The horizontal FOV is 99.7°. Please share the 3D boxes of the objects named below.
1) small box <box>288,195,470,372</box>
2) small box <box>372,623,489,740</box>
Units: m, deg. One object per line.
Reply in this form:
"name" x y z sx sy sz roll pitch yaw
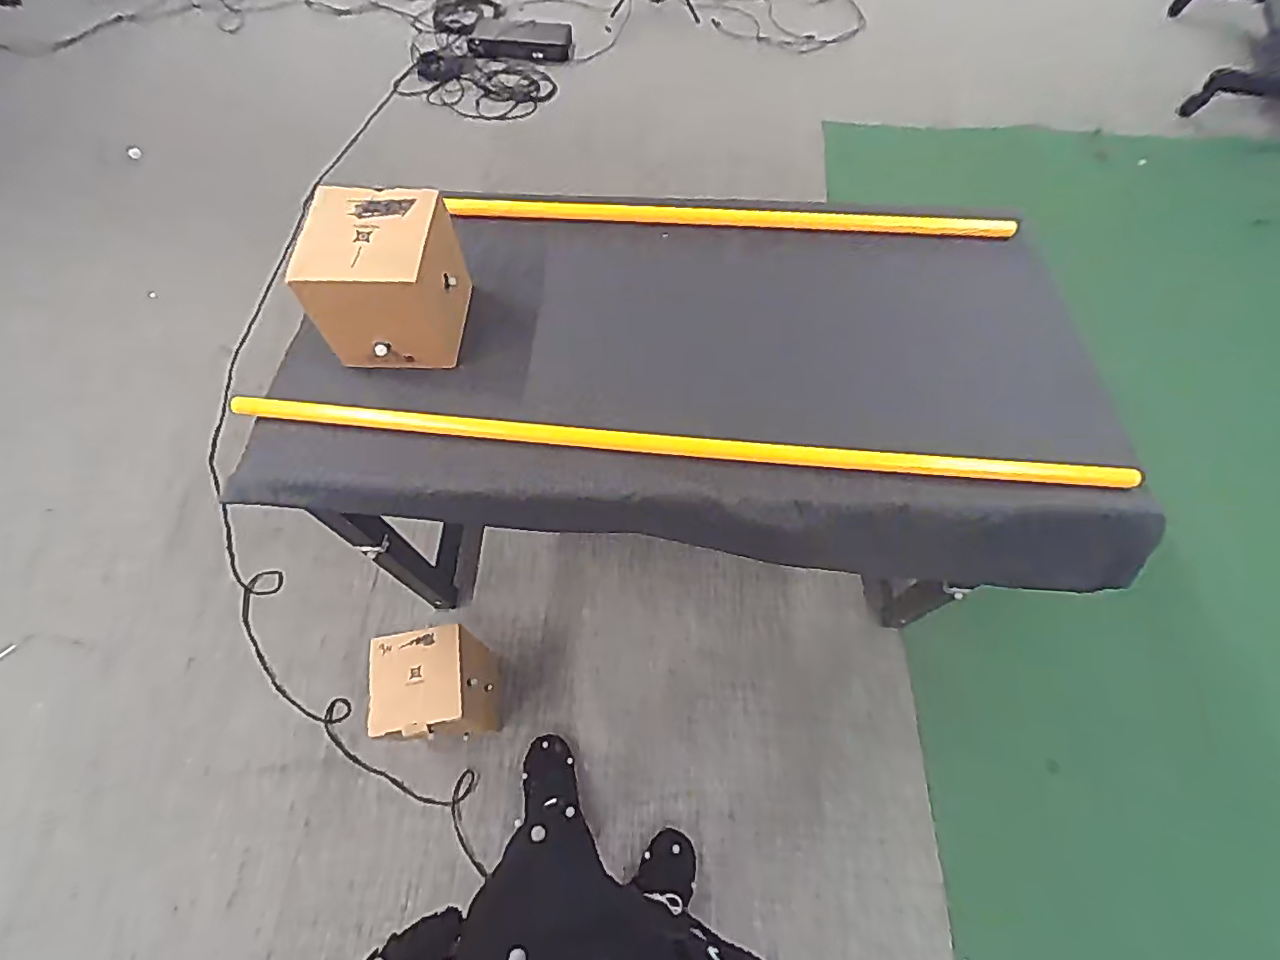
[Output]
"small box" -0.354 -0.277 0.775 0.168 0.176 0.179 0 63 0
"small box" -0.405 0.400 1.063 0.168 0.176 0.179 -13 63 -4
